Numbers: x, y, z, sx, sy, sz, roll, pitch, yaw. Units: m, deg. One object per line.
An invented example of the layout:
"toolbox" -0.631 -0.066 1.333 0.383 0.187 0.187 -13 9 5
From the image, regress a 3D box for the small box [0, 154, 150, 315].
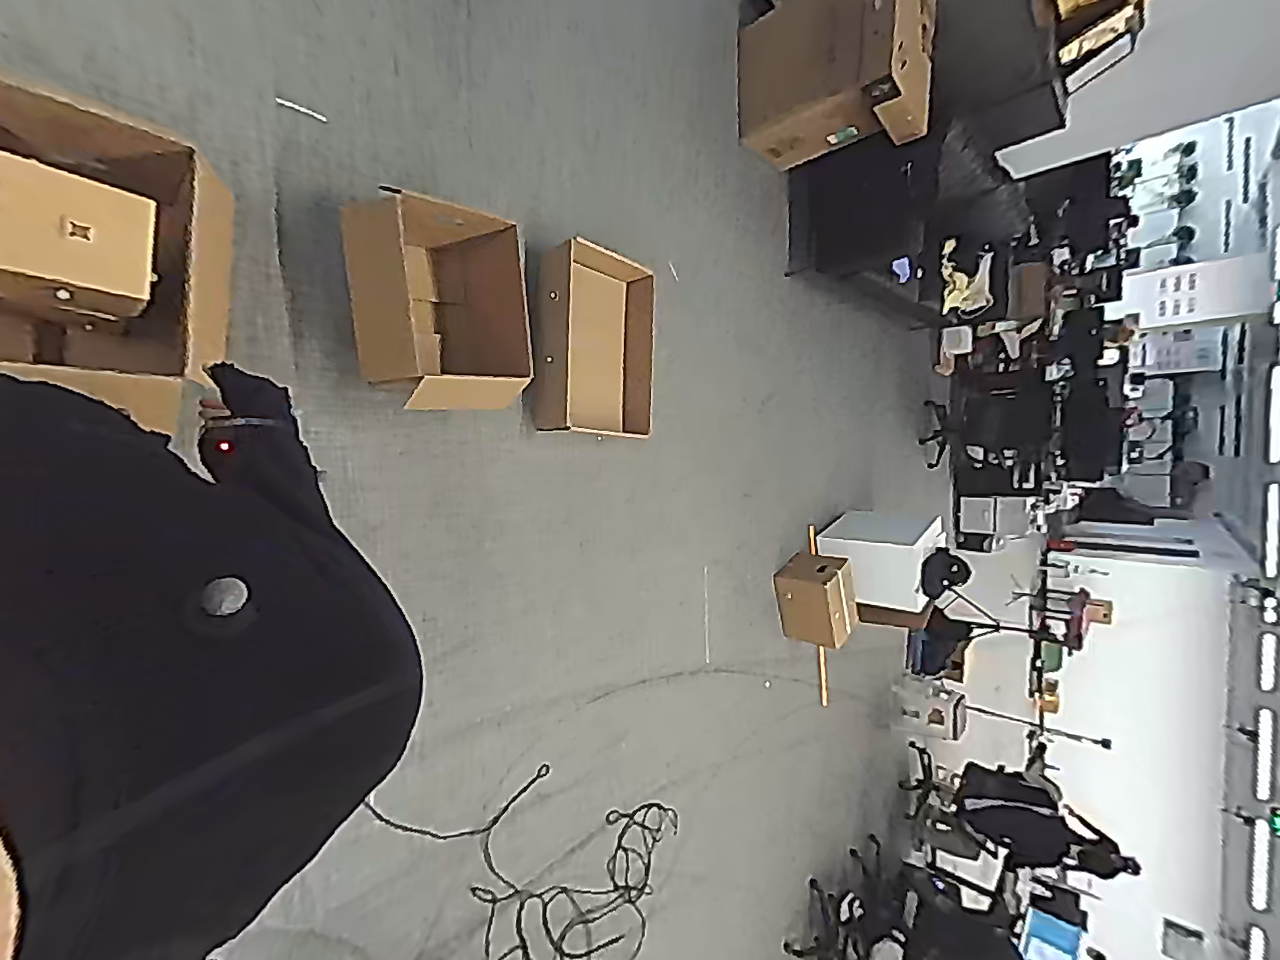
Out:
"small box" -0.913 -0.373 0.859 0.179 0.176 0.168 4 87 -48
